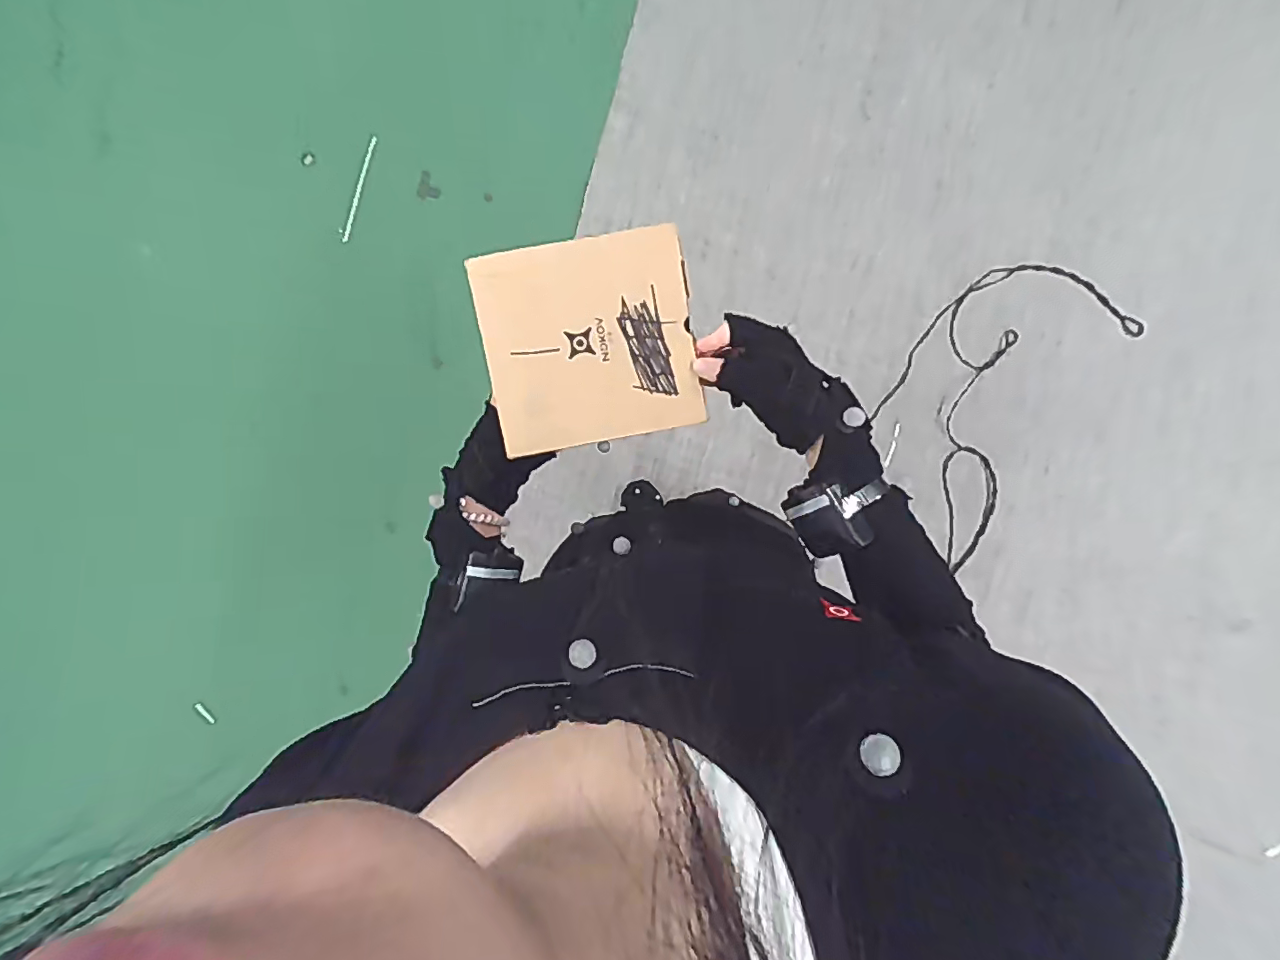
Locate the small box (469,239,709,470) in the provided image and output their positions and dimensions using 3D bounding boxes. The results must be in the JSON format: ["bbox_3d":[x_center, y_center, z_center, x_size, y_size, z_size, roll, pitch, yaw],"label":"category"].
[{"bbox_3d":[-0.043,-0.113,0.521,0.179,0.176,0.168,-10,99,-1],"label":"small box"}]
